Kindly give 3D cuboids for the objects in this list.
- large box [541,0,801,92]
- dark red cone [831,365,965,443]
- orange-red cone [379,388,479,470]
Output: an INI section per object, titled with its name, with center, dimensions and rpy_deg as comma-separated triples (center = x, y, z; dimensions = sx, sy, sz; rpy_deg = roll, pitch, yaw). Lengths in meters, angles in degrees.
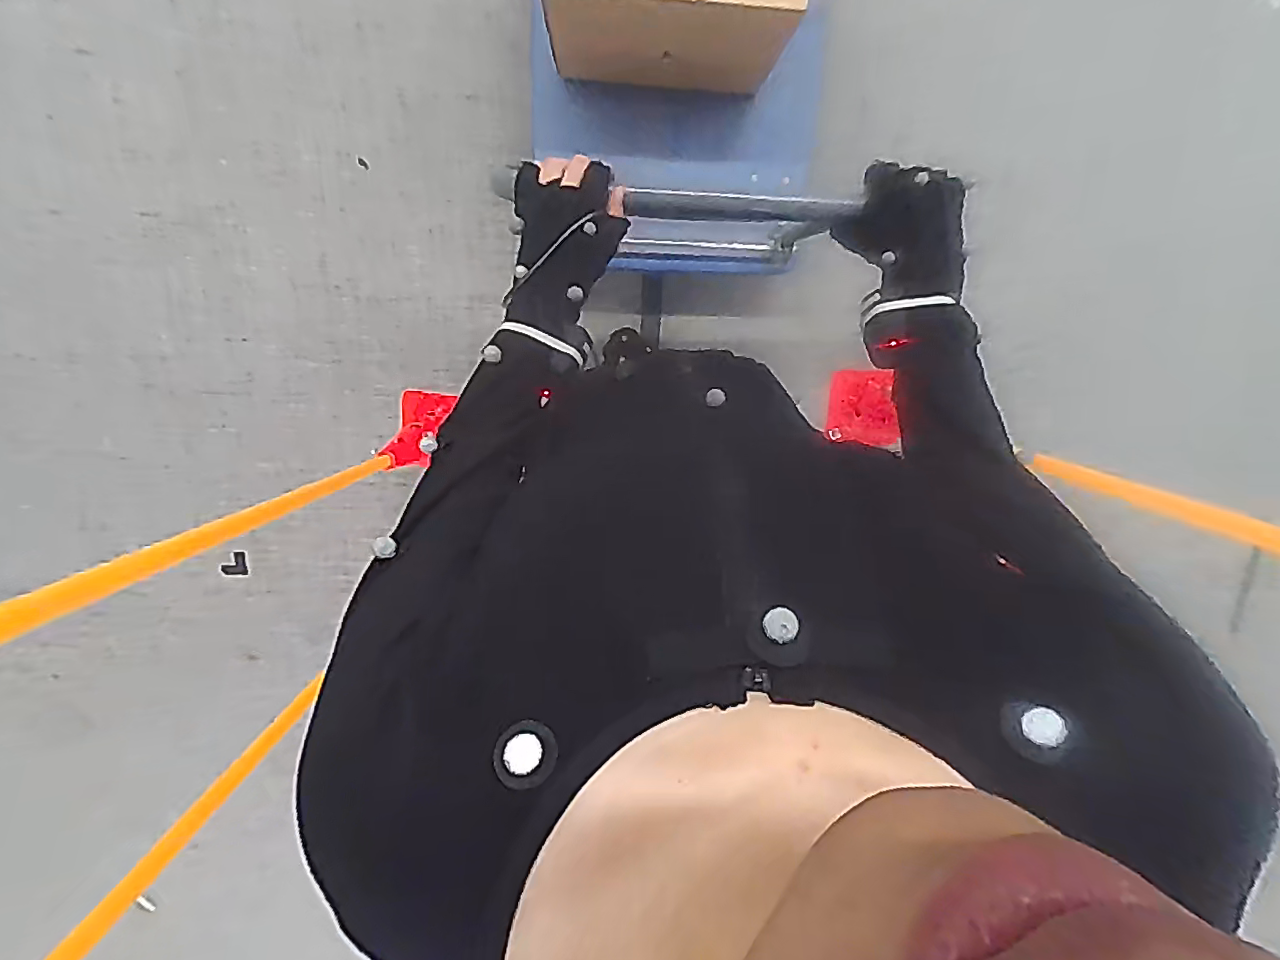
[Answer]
[large box]
center = 0.049, -0.902, 0.916
dimensions = 0.408, 0.320, 0.320
rpy_deg = 2, 105, -3
[dark red cone]
center = 0.615, -0.156, 1.266
dimensions = 0.201, 0.394, 0.202
rpy_deg = 0, 105, -5
[orange-red cone]
center = -0.517, -0.091, 1.251
dimensions = 0.198, 0.360, 0.199
rpy_deg = 8, 103, -6
